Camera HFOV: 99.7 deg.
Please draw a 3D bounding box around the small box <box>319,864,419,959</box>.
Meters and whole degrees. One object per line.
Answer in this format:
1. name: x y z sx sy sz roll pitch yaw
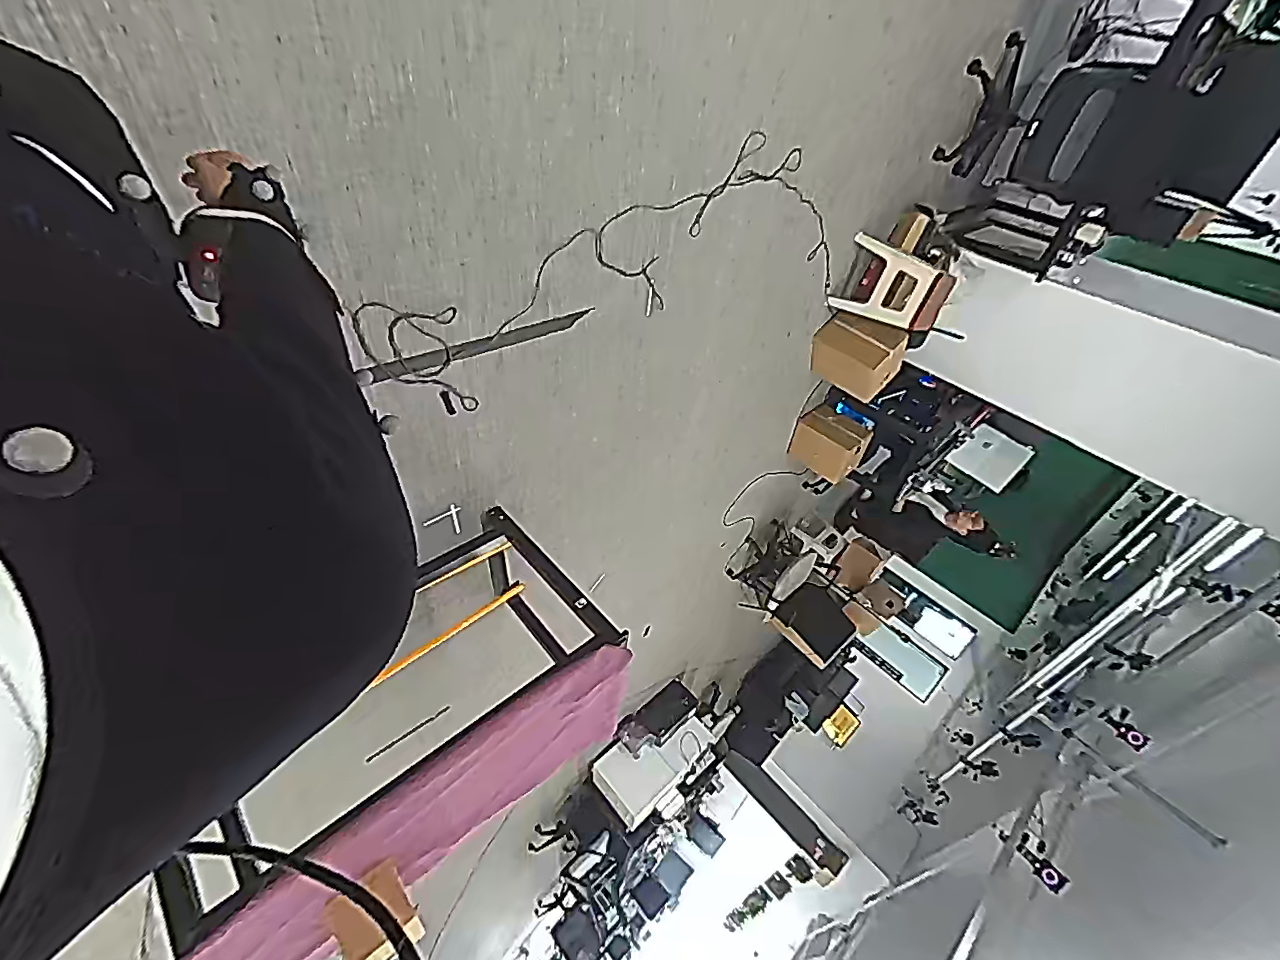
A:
1. small box: -0.689 1.130 1.379 0.168 0.176 0.179 -26 141 -37
